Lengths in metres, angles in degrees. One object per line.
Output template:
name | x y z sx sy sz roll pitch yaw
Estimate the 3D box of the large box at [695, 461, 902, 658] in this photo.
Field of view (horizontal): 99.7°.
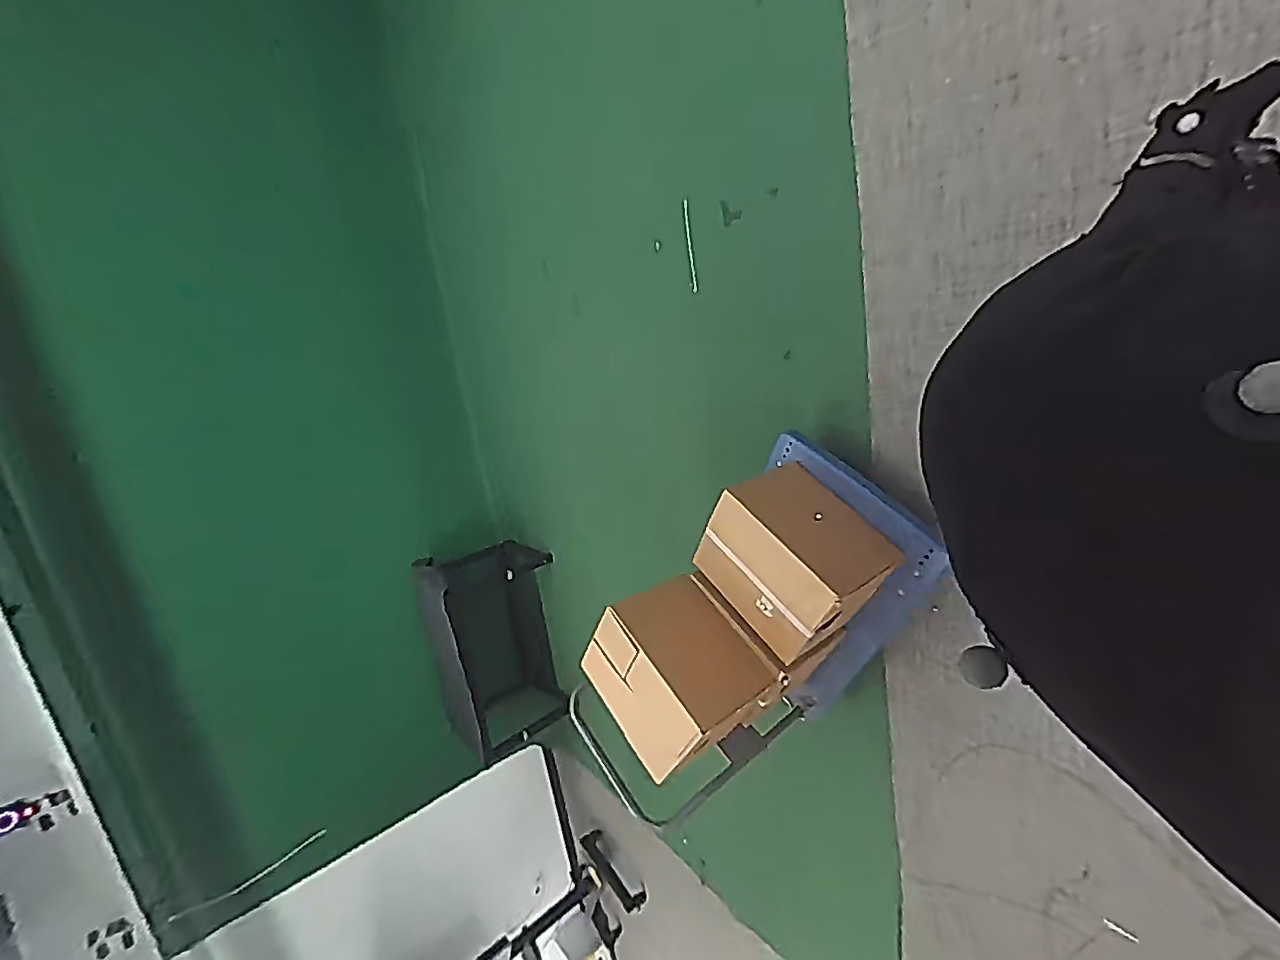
large box | 0.431 0.206 1.534 0.408 0.320 0.320 46 138 30
